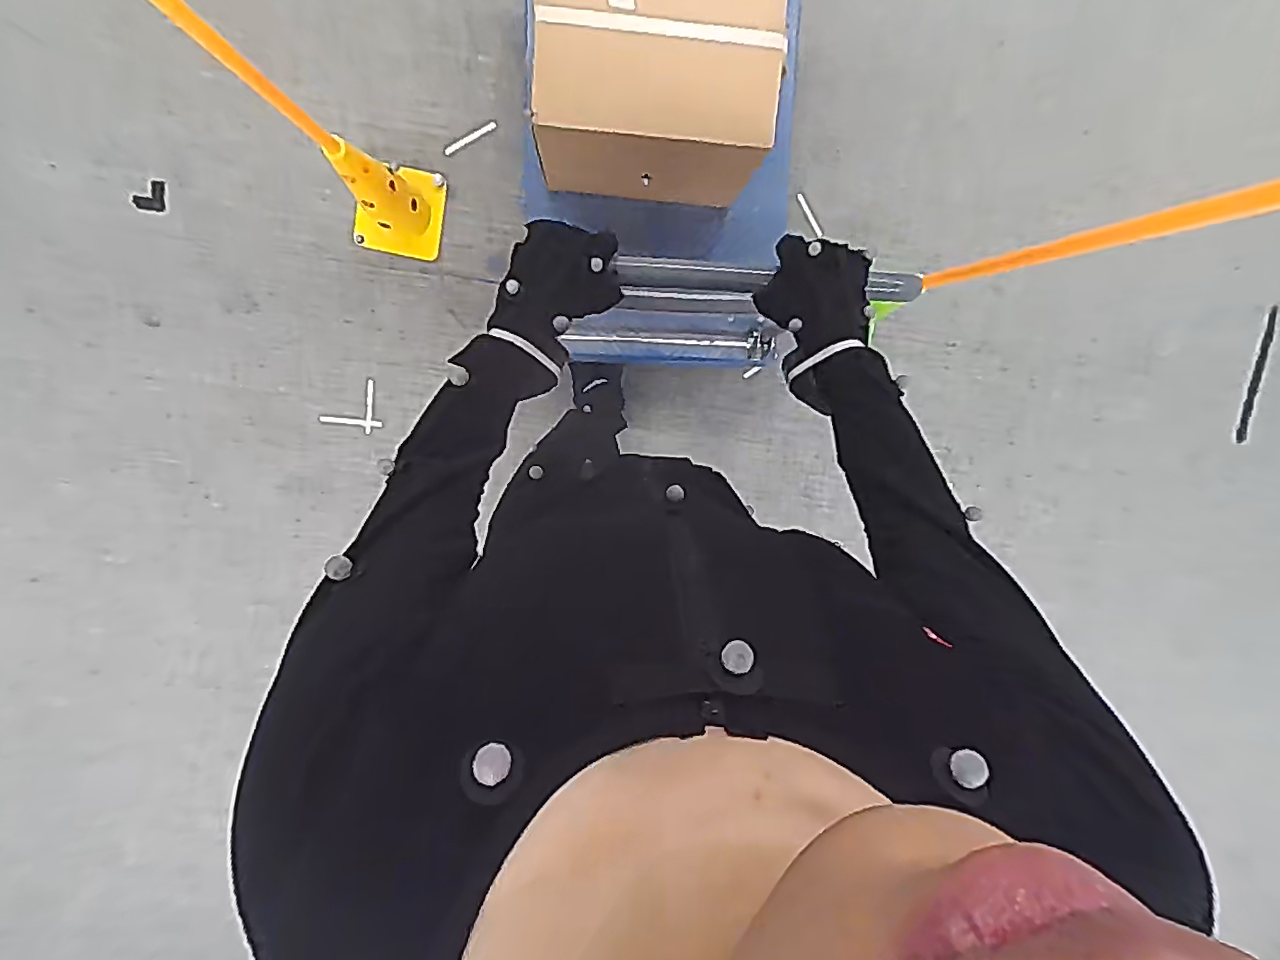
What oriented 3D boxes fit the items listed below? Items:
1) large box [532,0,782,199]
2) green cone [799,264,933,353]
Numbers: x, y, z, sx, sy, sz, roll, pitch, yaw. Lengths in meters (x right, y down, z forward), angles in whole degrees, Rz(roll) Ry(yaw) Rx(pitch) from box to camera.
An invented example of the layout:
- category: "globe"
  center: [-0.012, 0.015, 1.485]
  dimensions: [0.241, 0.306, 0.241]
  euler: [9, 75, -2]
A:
- category: "large box"
  center: [0.022, -0.747, 1.015]
  dimensions: [0.408, 0.320, 0.320]
  euler: [3, 99, -4]
- category: "green cone"
  center: [0.547, -0.422, 1.256]
  dimensions: [0.202, 0.368, 0.200]
  euler: [11, 98, -8]
